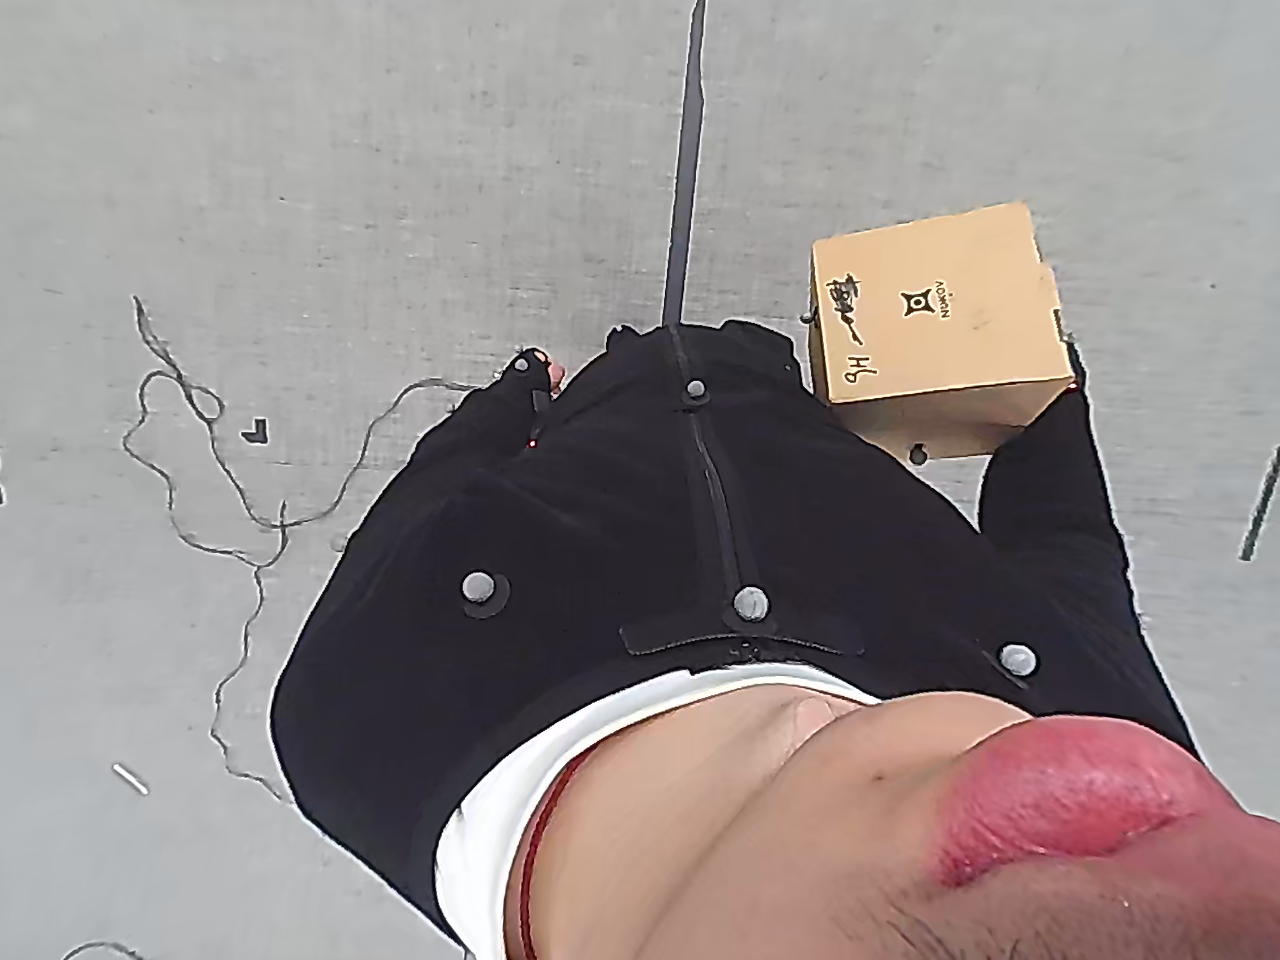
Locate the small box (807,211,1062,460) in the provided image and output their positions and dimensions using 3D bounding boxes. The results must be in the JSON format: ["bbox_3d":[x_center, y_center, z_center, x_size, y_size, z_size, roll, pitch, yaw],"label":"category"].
[{"bbox_3d":[0.266,-0.127,0.537,0.179,0.176,0.168,-4,71,14],"label":"small box"}]
